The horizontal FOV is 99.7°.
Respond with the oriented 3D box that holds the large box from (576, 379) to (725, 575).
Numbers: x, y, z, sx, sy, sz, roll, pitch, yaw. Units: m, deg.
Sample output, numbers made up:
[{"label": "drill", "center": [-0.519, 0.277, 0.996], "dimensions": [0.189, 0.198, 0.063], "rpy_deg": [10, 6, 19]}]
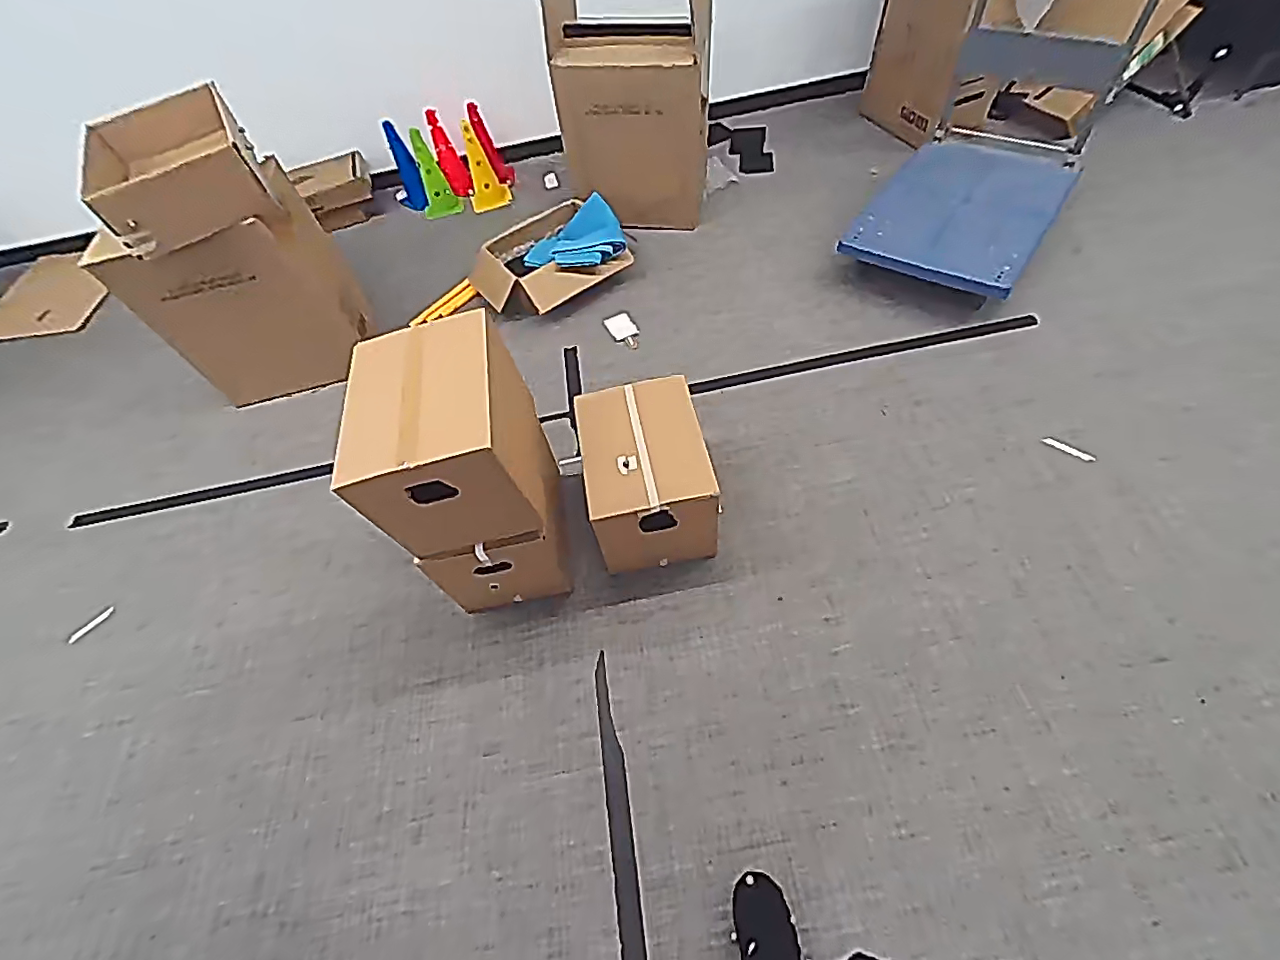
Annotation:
[{"label": "large box", "center": [0.026, -0.005, 1.485], "dimensions": [0.320, 0.320, 0.408], "rpy_deg": [-13, 56, 0]}]
